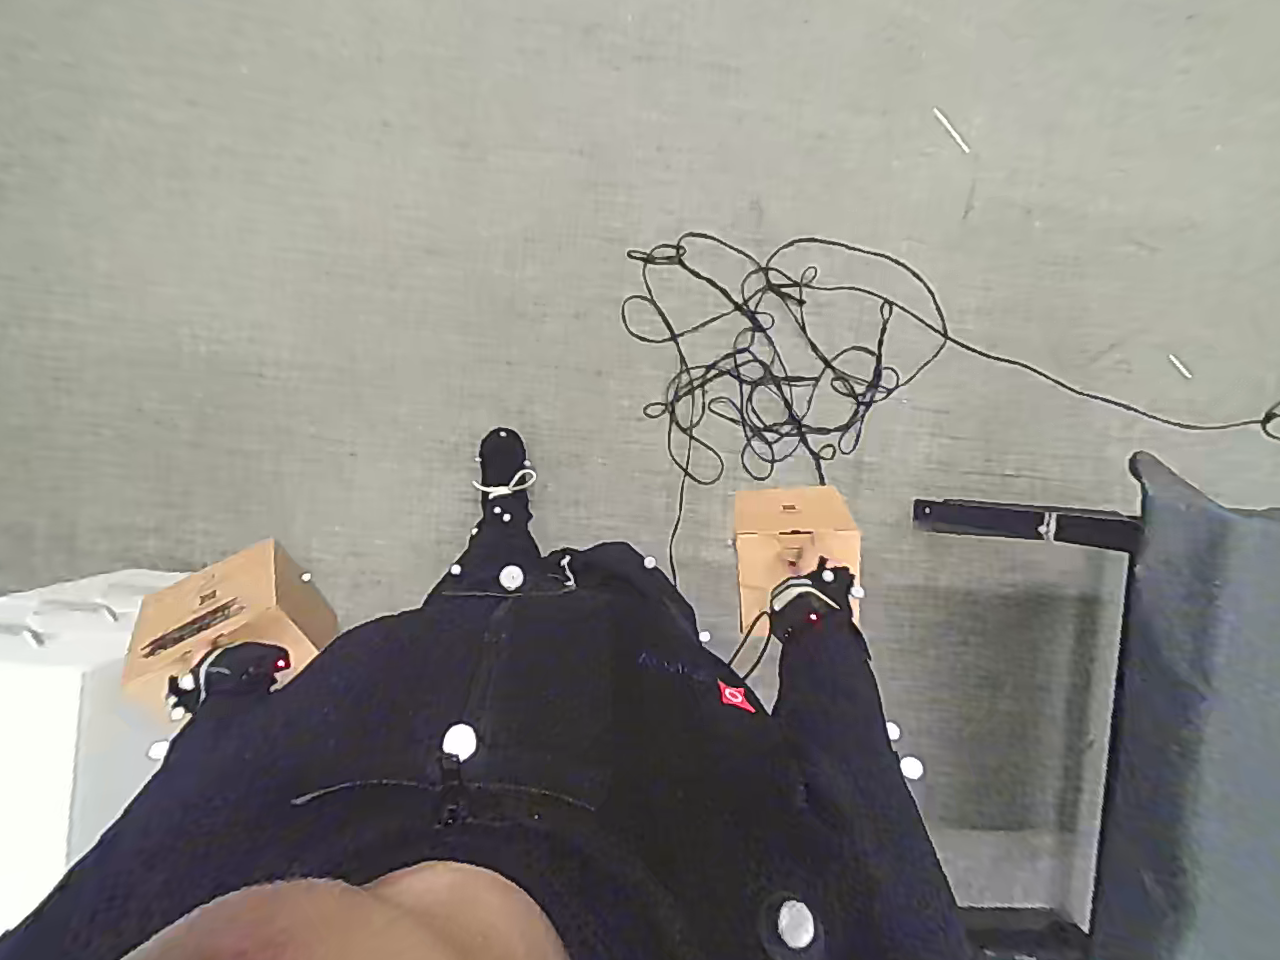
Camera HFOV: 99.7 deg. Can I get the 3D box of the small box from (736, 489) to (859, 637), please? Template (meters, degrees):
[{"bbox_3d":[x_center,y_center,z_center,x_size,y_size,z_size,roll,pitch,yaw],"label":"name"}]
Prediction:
[{"bbox_3d":[0.234,0.120,0.841,0.168,0.179,0.176,-1,109,10],"label":"small box"}]
